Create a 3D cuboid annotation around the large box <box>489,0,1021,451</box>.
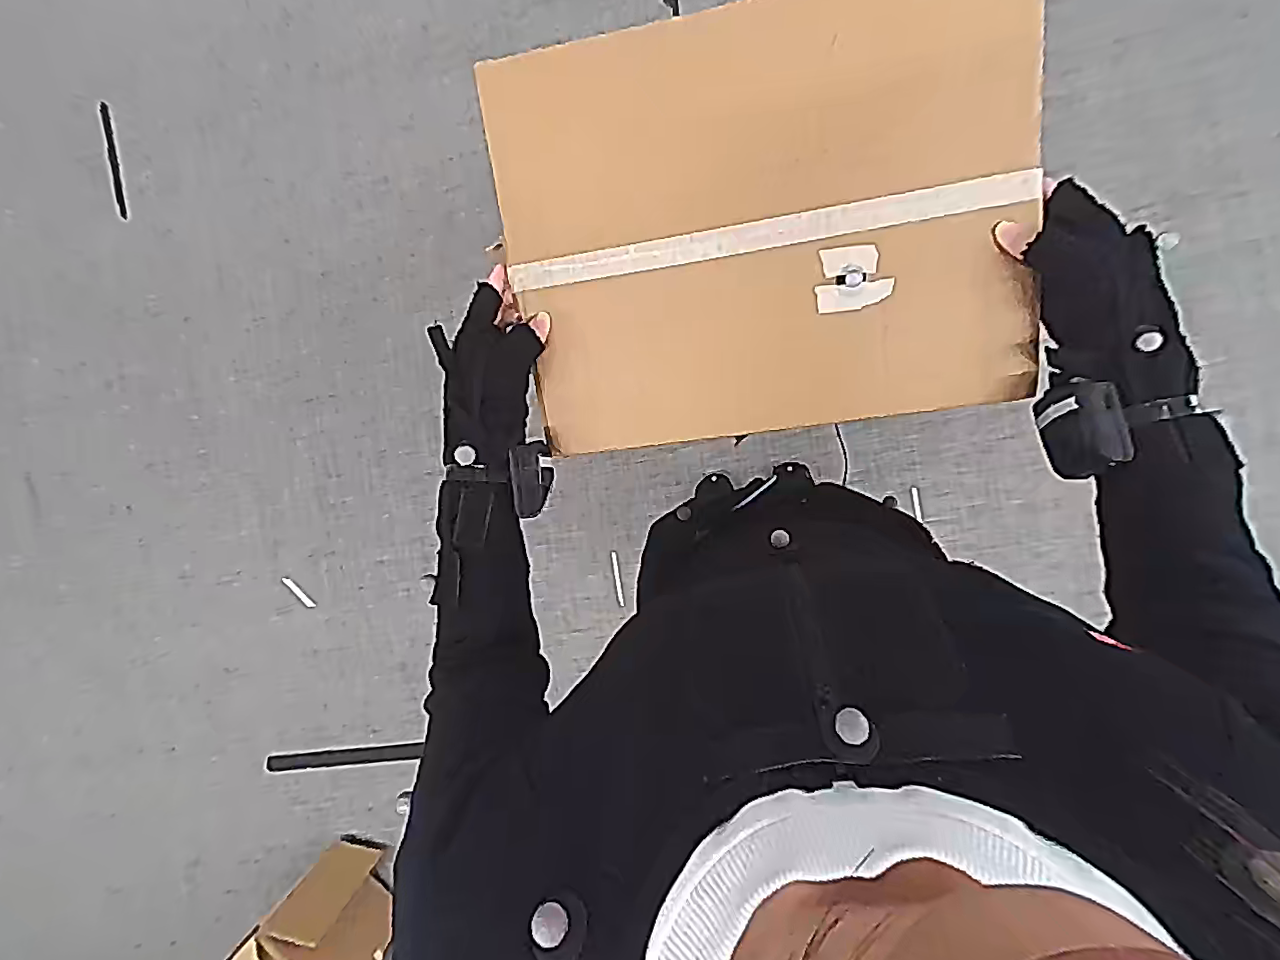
[{"bbox_3d":[0.109,-0.234,0.584,0.408,0.320,0.320,-7,104,8],"label":"large box"}]
